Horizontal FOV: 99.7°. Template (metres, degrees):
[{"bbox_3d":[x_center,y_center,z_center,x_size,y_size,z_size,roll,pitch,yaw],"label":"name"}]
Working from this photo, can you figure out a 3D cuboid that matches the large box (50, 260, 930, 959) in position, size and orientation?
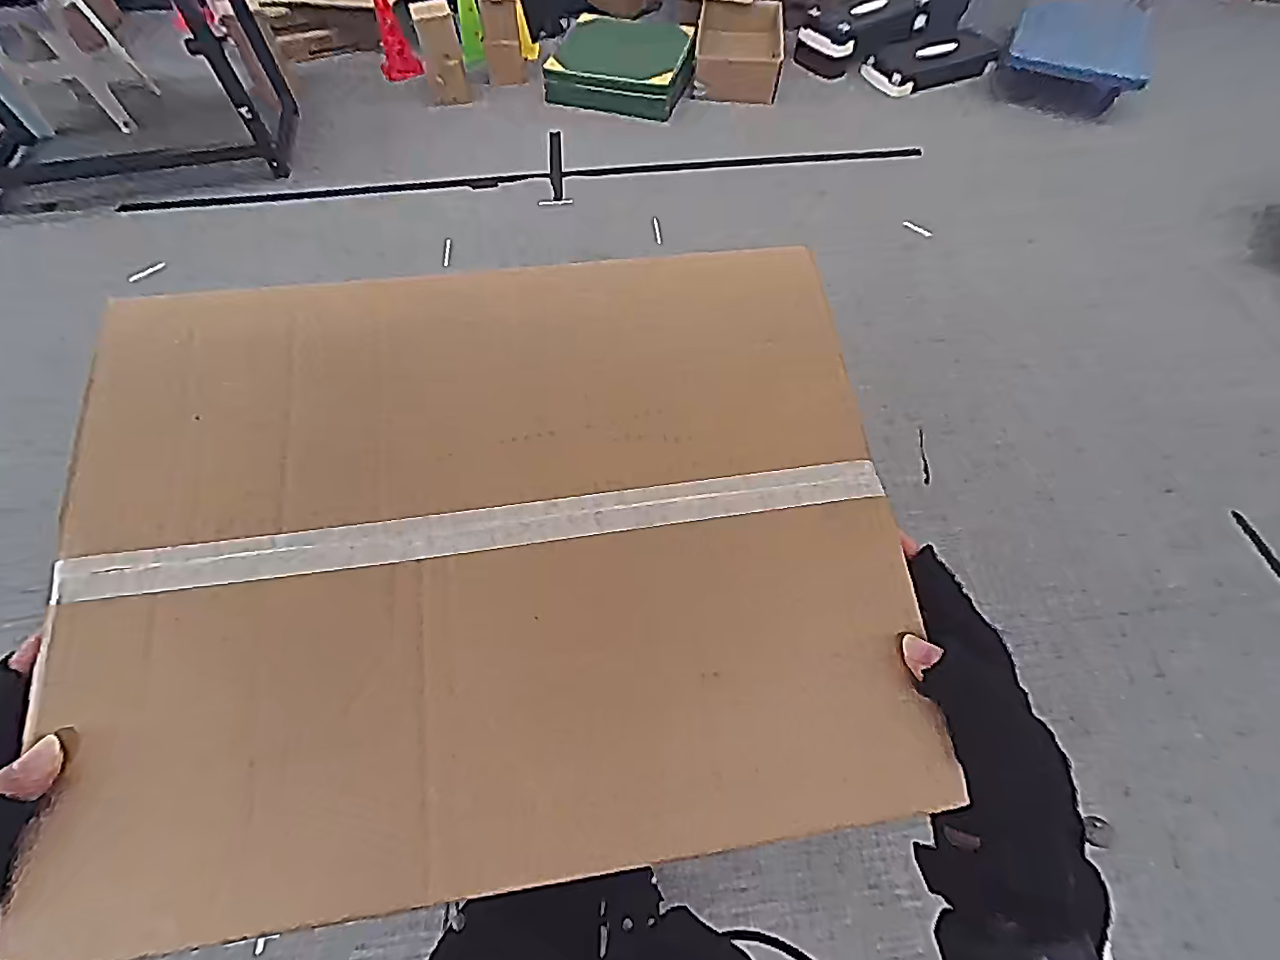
[{"bbox_3d":[-0.081,0.072,0.427,0.408,0.320,0.320,-7,72,-5],"label":"large box"}]
